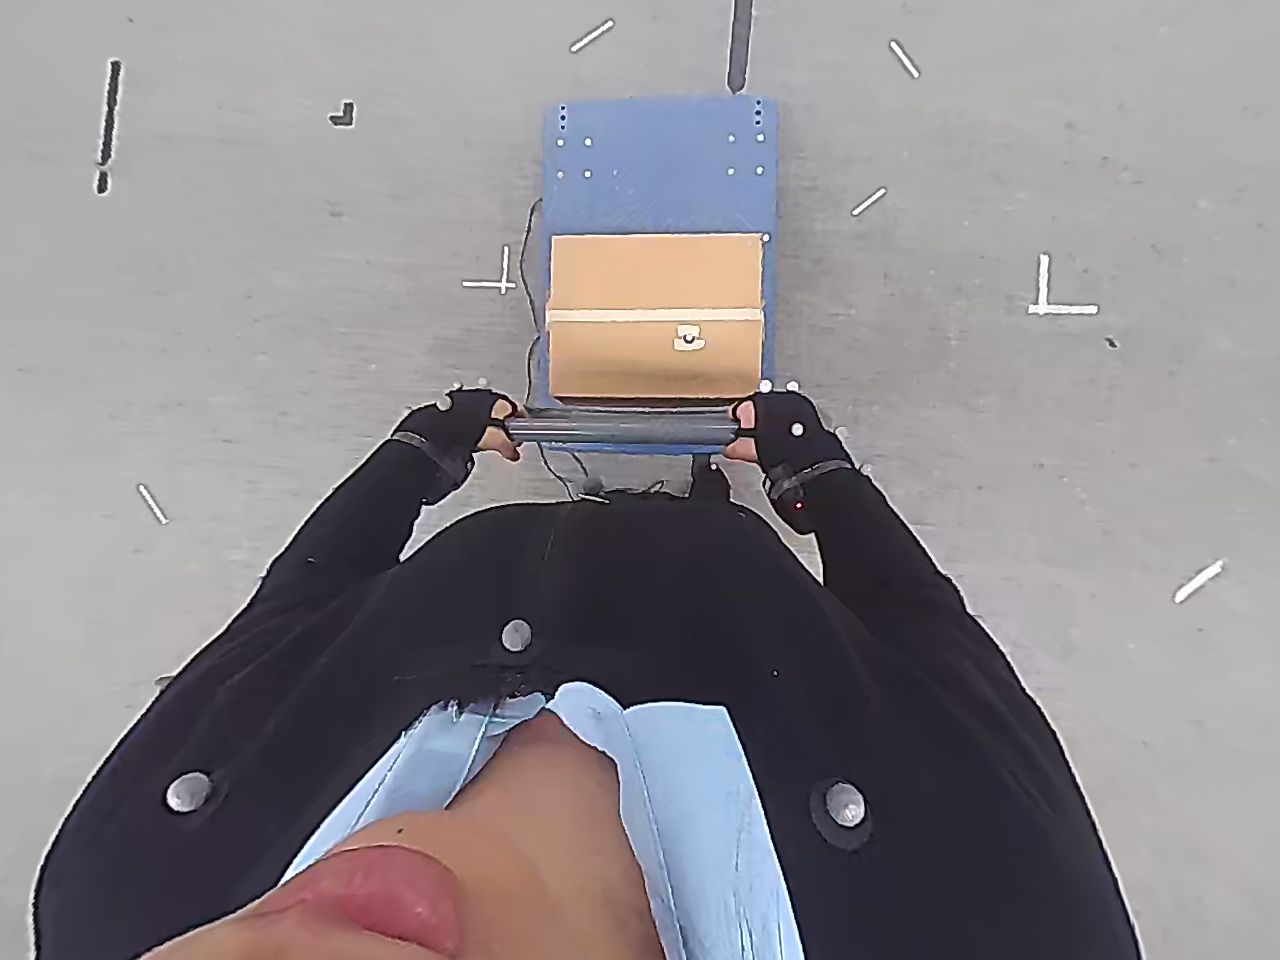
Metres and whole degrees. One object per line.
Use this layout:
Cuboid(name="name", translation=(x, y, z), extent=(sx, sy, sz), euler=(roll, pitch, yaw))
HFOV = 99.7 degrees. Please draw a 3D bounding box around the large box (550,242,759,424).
Cuboid(name="large box", translation=(0.032, -0.294, 1.174), extent=(0.408, 0.320, 0.320), euler=(1, 90, 3))
